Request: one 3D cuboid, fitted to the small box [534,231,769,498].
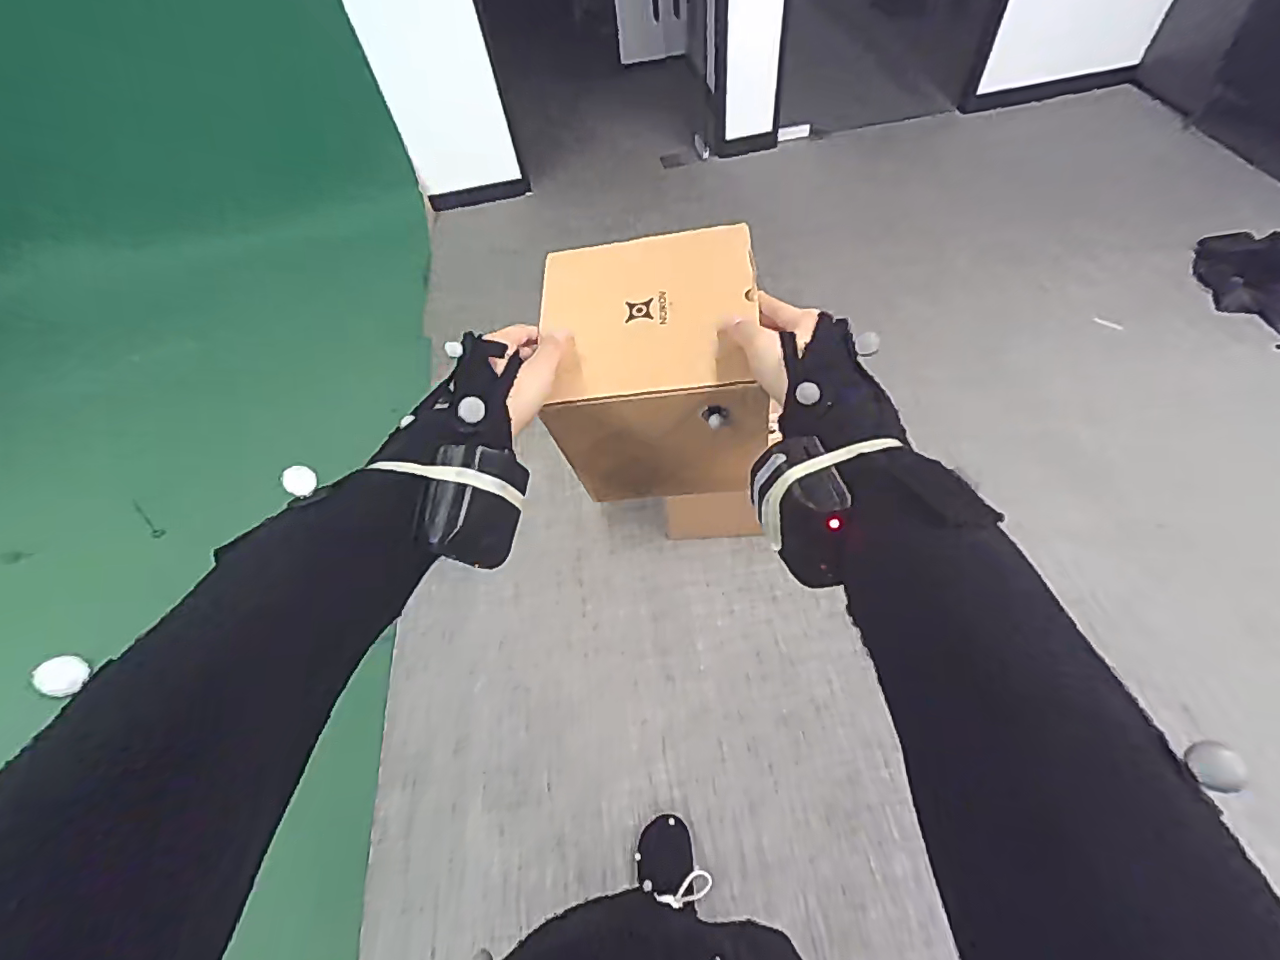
[{"bbox_3d":[0.020,-0.092,0.495,0.179,0.176,0.168,-5,61,8],"label":"small box"}]

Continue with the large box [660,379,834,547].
[{"bbox_3d":[0.251,-0.037,1.441,0.408,0.320,0.320,-4,56,3],"label":"large box"}]
